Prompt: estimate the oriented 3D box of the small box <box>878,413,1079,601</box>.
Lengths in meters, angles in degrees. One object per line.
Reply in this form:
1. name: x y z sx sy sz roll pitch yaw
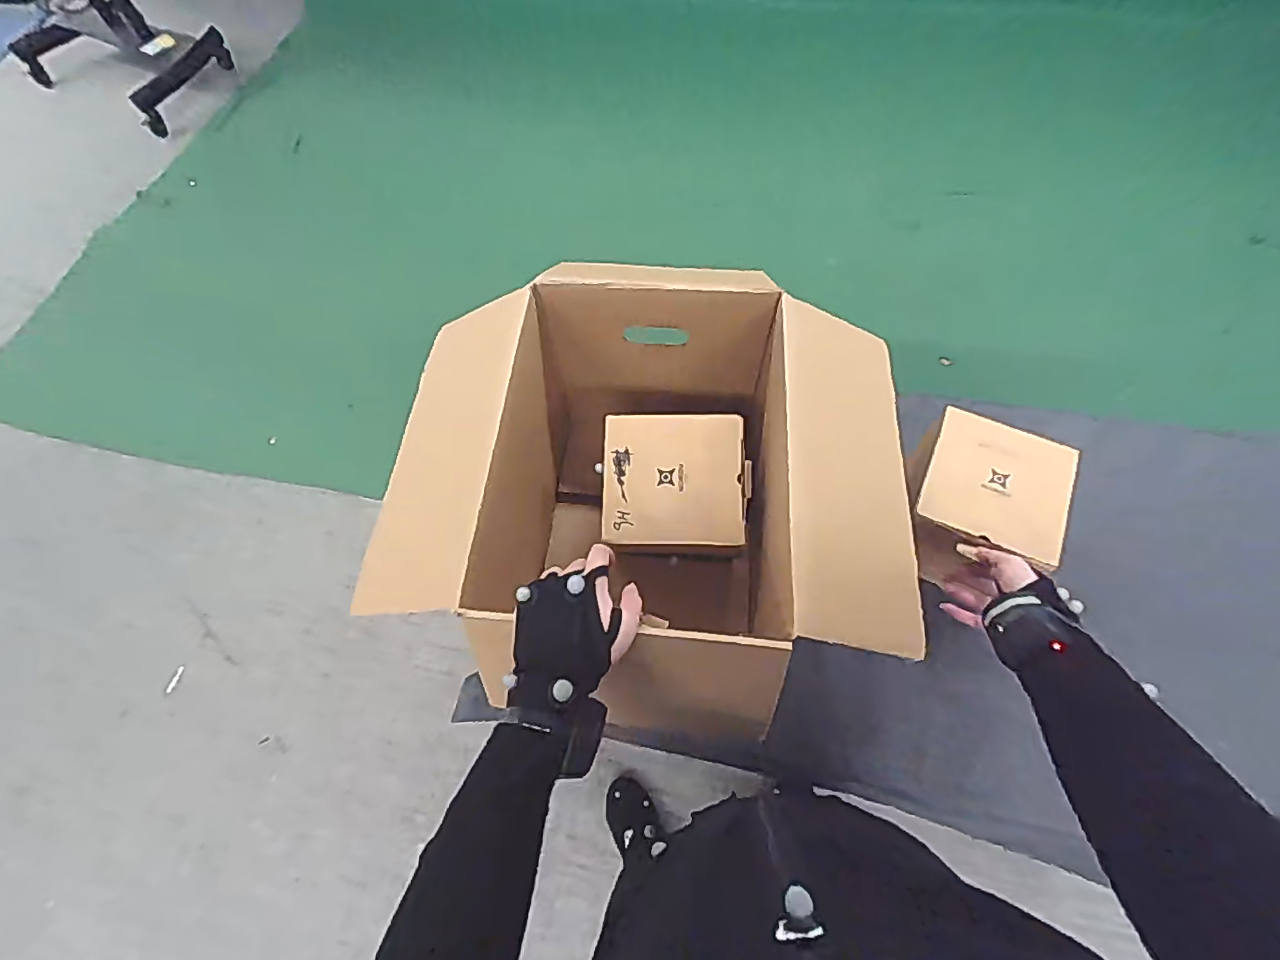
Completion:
1. small box: 0.454 0.045 0.750 0.168 0.176 0.179 24 66 12
